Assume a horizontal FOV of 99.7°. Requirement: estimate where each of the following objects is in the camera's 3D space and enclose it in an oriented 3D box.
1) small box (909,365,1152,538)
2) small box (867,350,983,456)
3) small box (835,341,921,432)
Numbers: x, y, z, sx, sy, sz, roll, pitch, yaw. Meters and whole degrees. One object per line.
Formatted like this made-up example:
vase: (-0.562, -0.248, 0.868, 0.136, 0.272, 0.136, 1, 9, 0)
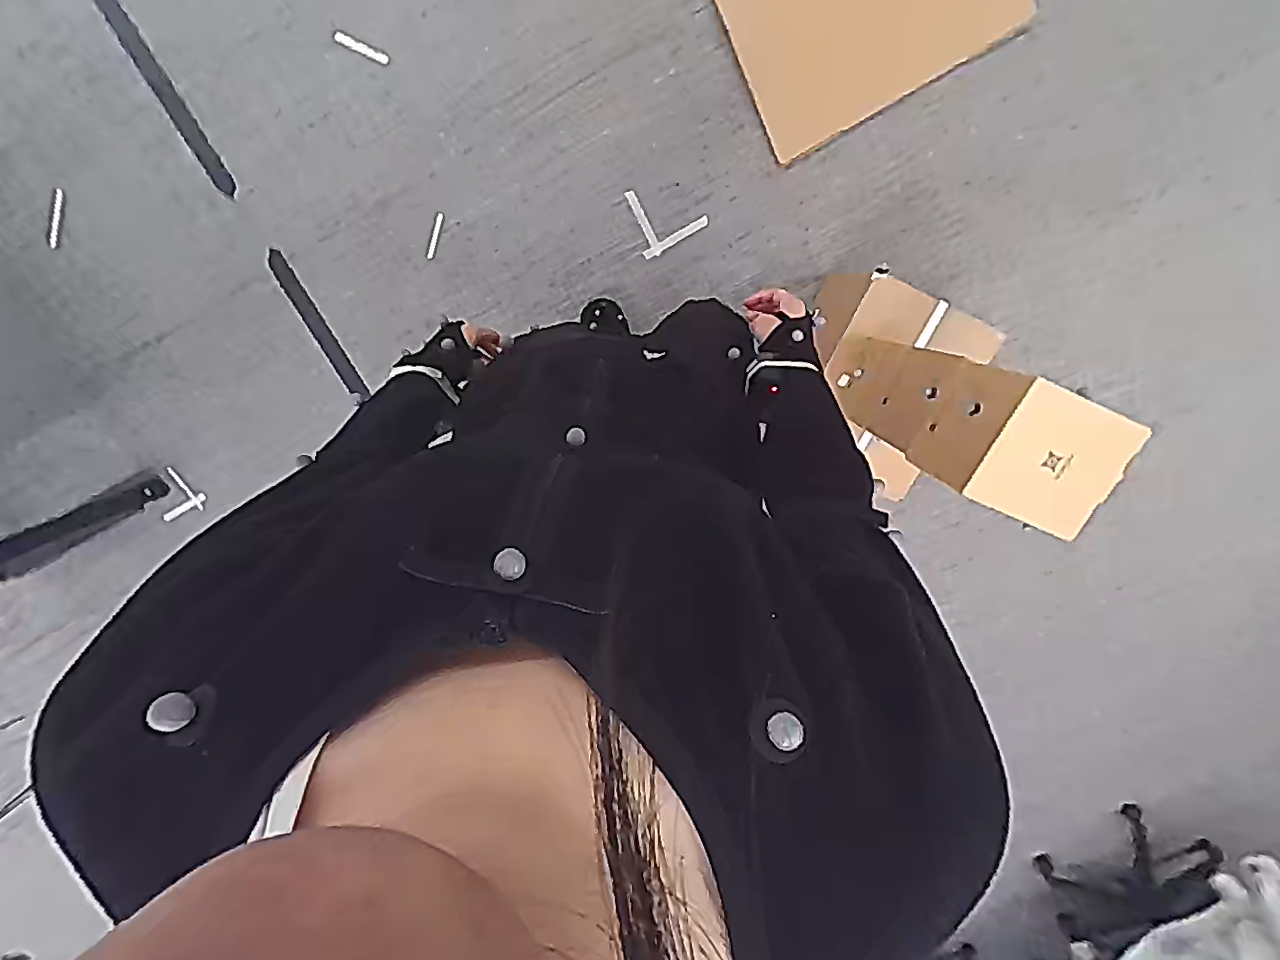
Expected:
small box: (0.517, -0.049, 0.749, 0.179, 0.176, 0.168, 21, 108, -8)
small box: (0.521, -0.106, 0.902, 0.179, 0.176, 0.168, 22, 108, -8)
small box: (0.519, -0.162, 1.056, 0.179, 0.176, 0.168, 22, 108, -7)
